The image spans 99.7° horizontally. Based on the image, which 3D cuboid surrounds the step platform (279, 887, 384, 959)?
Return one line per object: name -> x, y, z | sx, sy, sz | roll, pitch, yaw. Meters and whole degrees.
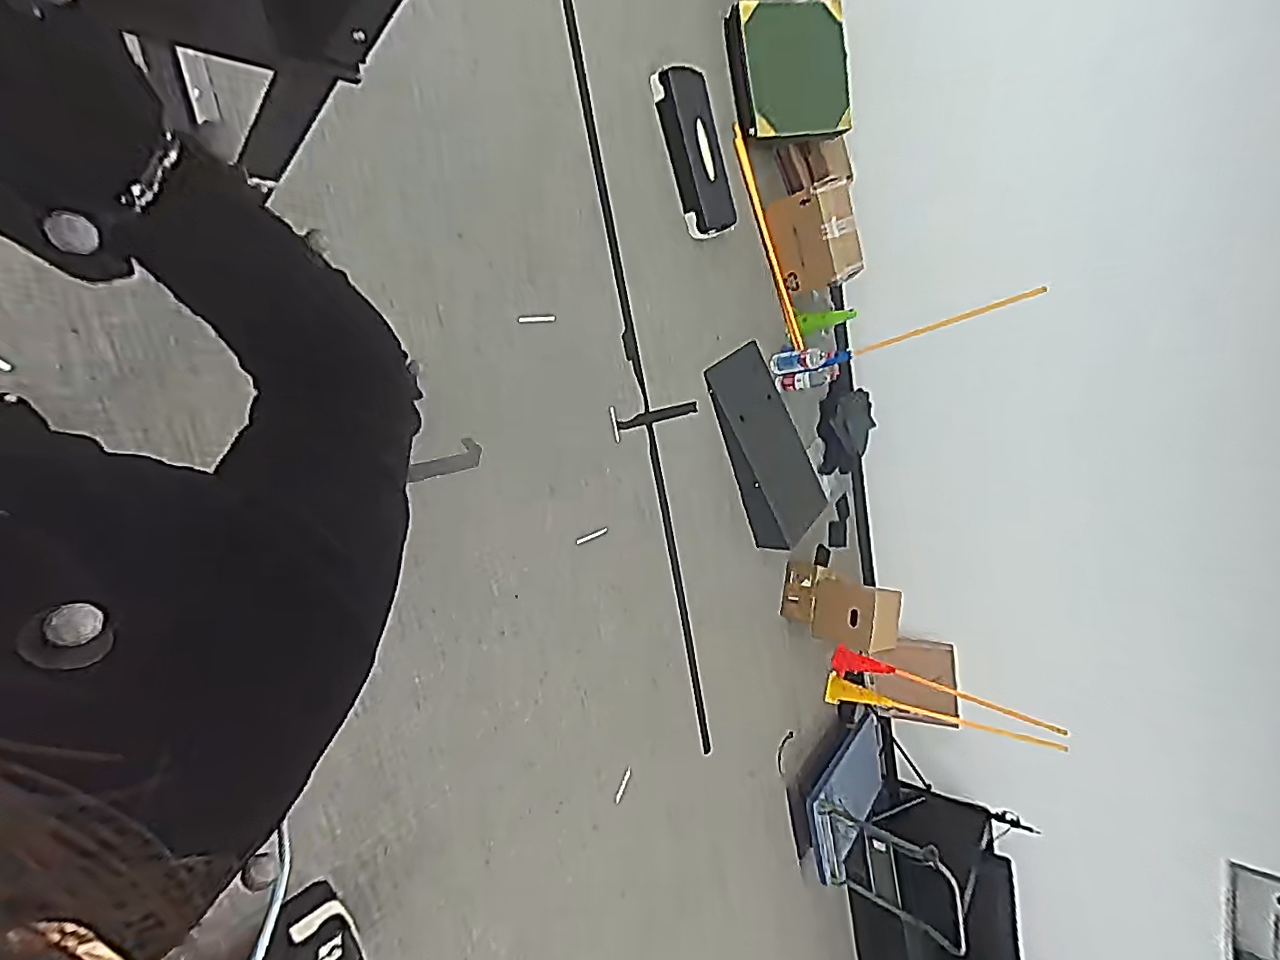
step platform -> -0.897, 1.218, 1.119 | 0.684, 0.204, 0.286 | -13, 98, -46
